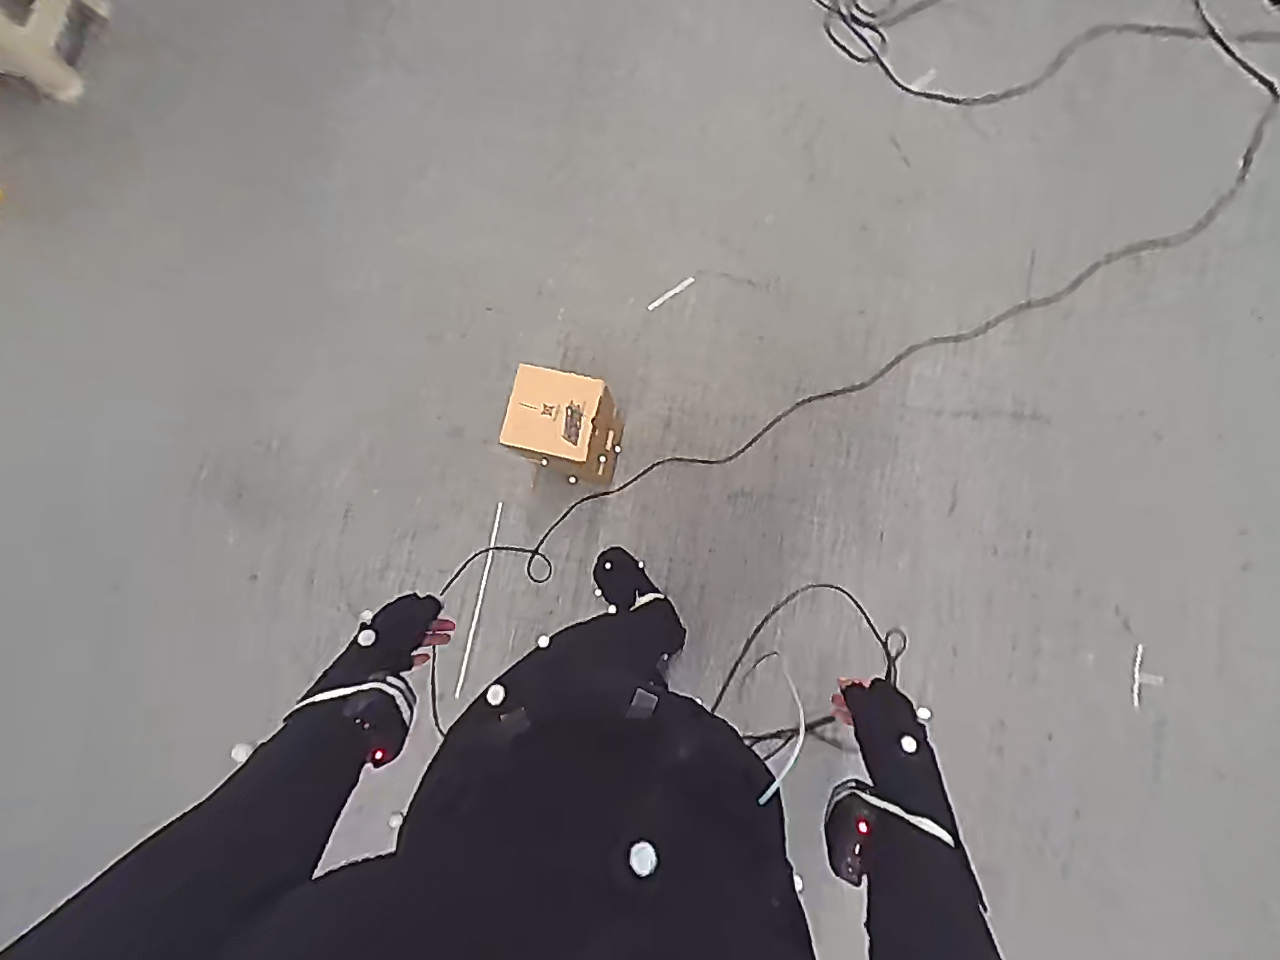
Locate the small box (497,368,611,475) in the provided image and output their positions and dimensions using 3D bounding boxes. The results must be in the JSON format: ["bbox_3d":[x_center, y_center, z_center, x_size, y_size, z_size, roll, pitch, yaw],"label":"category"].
[{"bbox_3d":[-0.167,-0.112,1.118,0.179,0.176,0.168,13,84,6],"label":"small box"}]

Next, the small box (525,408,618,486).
[{"bbox_3d":[-0.153,-0.086,1.282,0.179,0.176,0.168,10,80,3],"label":"small box"}]
